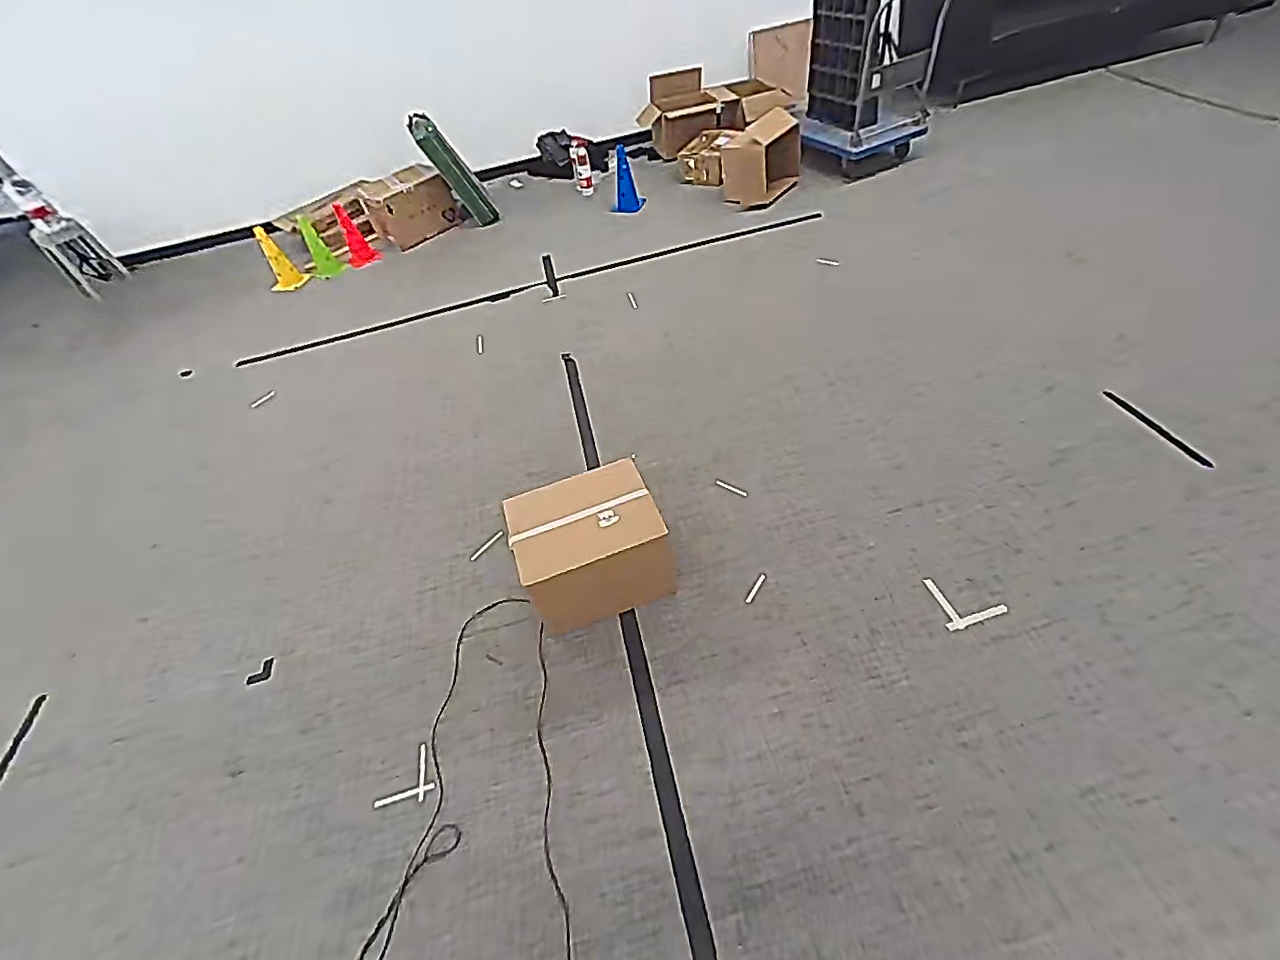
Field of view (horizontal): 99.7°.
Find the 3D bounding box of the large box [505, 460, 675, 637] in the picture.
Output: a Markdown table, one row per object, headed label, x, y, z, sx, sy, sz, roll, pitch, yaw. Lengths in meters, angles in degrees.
| label | x | y | z | sx | sy | sz | roll | pitch | yaw |
| --- | --- | --- | --- | --- | --- | --- | --- | --- | --- |
| large box | -0.141 | 0.203 | 1.606 | 0.408 | 0.320 | 0.320 | -19 | 49 | -8 |
